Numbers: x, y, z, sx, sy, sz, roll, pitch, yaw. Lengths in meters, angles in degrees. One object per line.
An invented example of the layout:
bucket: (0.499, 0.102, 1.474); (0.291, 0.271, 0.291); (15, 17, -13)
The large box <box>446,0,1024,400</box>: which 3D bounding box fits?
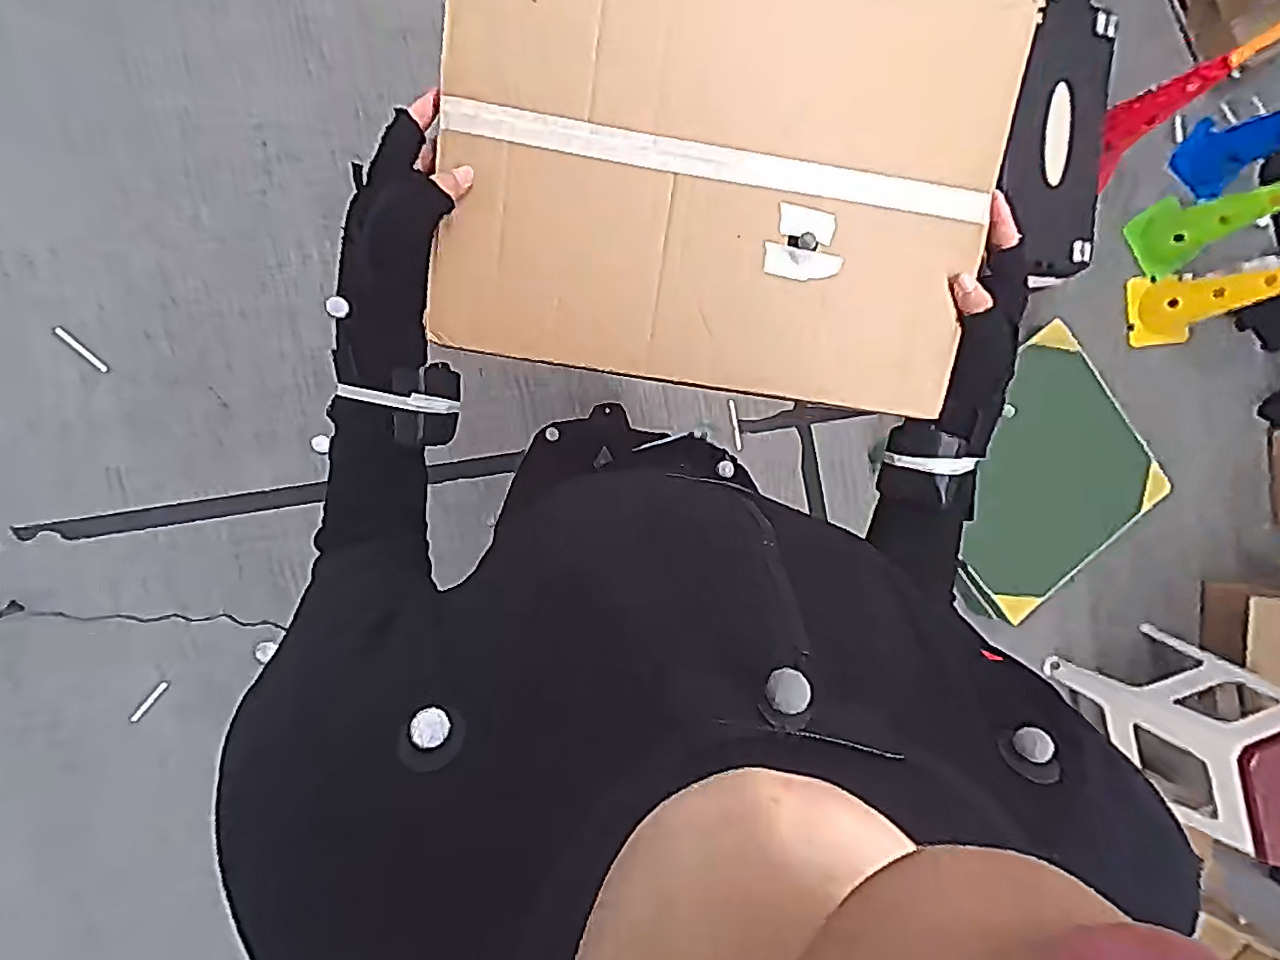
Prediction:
large box: (0.054, -0.268, 0.549); (0.408, 0.320, 0.320); (8, 102, -5)
